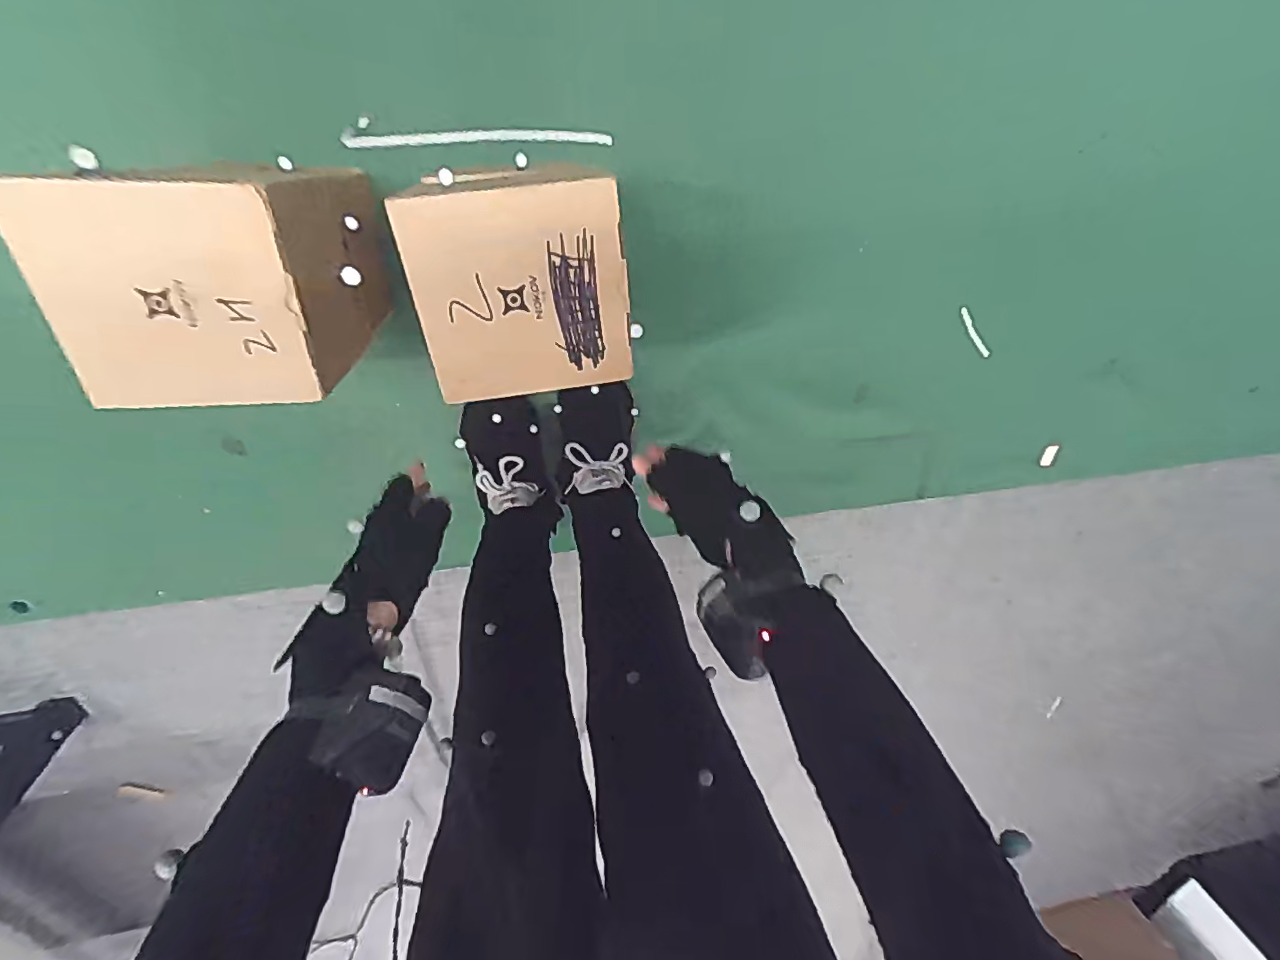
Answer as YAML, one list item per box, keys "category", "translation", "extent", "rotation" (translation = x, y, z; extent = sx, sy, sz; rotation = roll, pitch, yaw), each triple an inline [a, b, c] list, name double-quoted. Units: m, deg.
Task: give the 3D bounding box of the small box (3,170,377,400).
- category: "small box"
  translation: [-0.362, -0.179, 0.484]
  extent: [0.179, 0.176, 0.168]
  rotation: [-3, 121, -9]

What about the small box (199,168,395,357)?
- category: "small box"
  translation: [-0.398, -0.254, 0.628]
  extent: [0.168, 0.176, 0.179]
  rotation: [-2, 121, -10]
